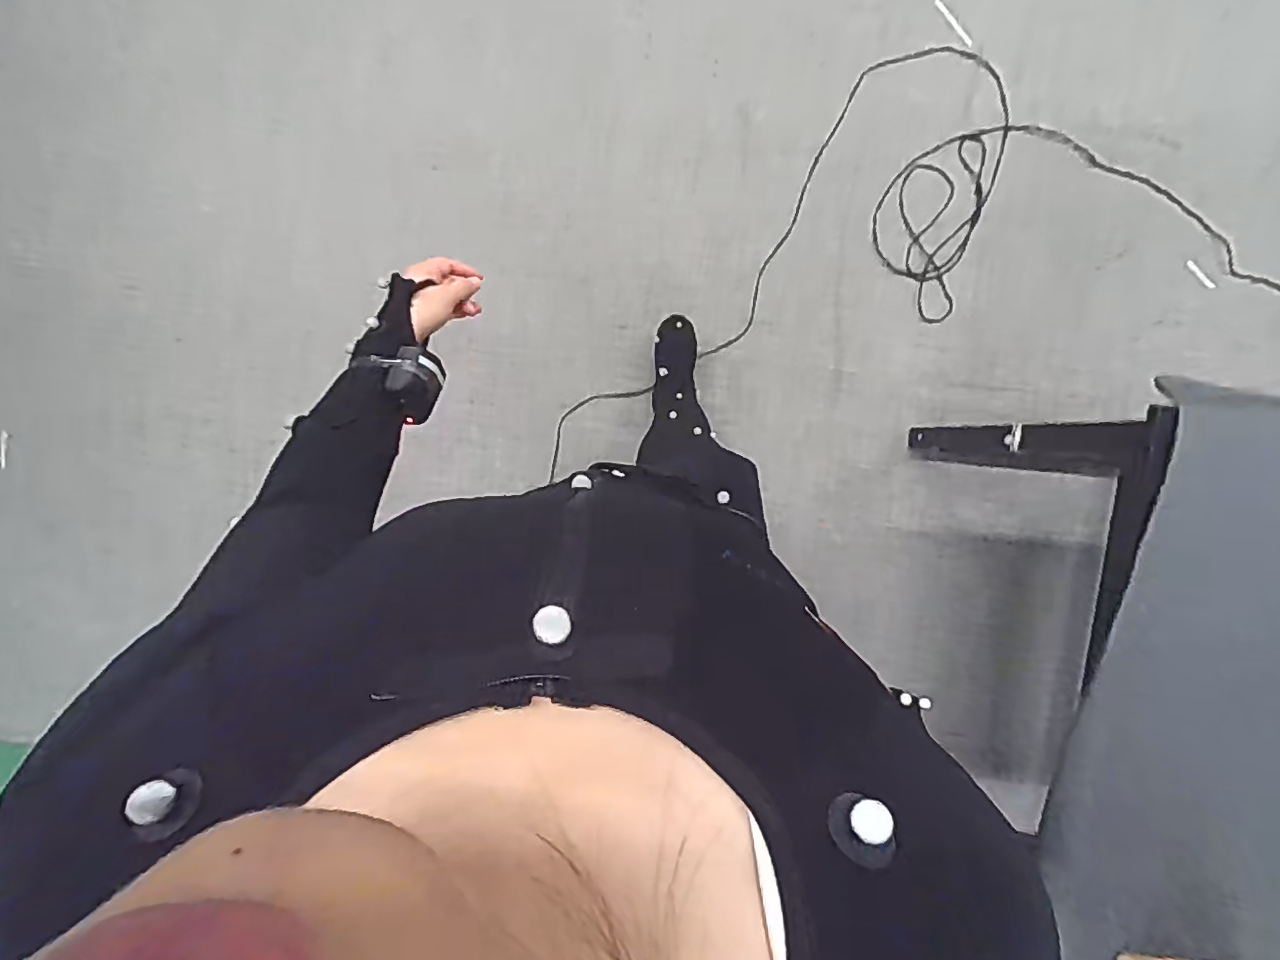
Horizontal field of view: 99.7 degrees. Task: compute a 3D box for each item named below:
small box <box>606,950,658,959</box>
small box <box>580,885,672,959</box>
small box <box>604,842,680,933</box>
[{"bbox_3d":[-0.033,1.169,1.157,0.179,0.176,0.168,-17,93,3],"label":"small box"},{"bbox_3d":[-0.036,1.154,1.322,0.168,0.176,0.179,43,96,-1],"label":"small box"},{"bbox_3d":[0.000,1.149,1.483,0.168,0.176,0.179,22,96,0],"label":"small box"}]
